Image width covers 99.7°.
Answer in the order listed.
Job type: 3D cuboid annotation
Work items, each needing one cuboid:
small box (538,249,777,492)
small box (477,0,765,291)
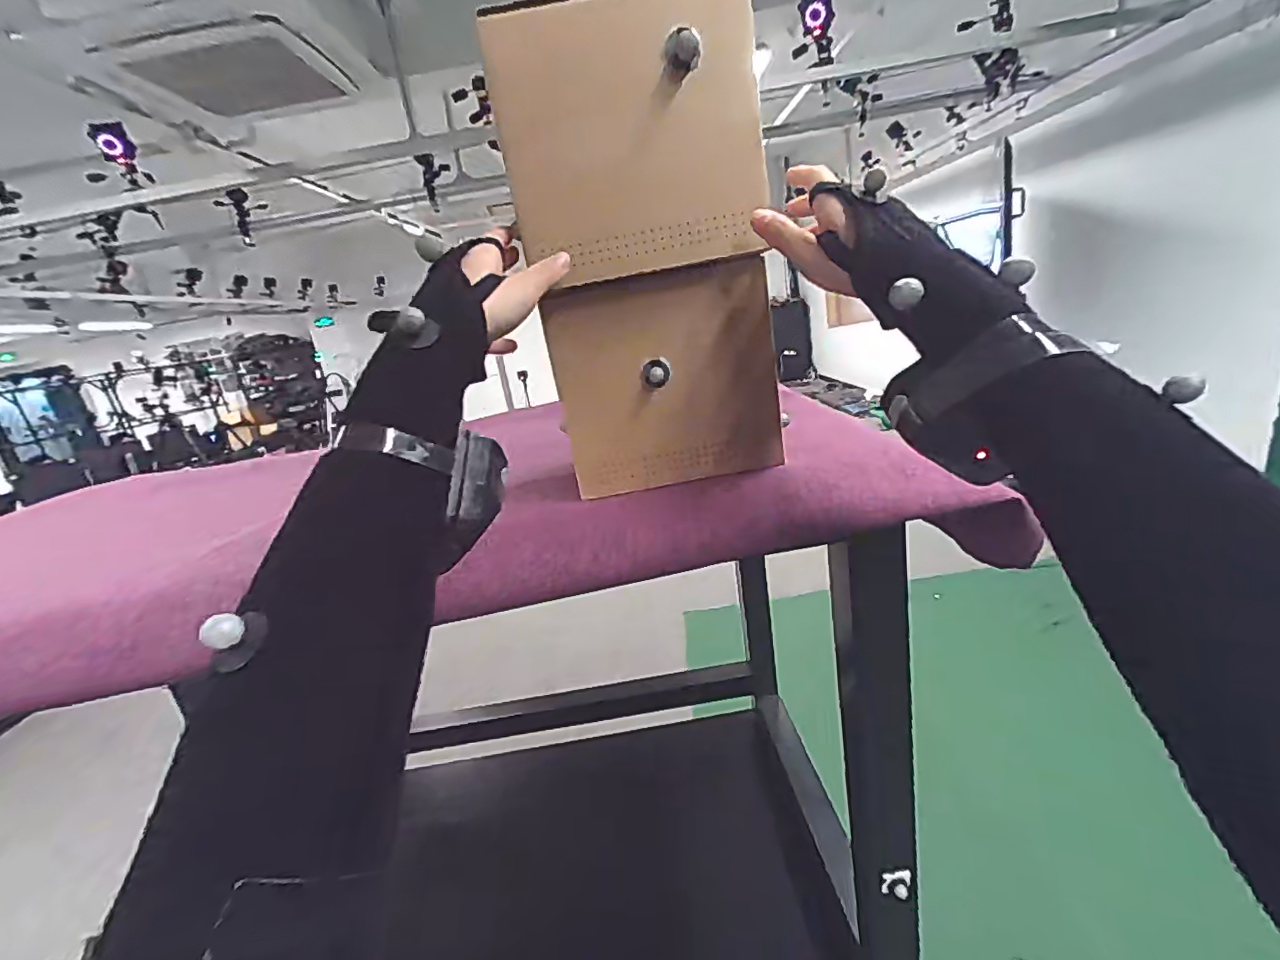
[{"bbox_3d":[0.021,-0.102,0.499,0.179,0.176,0.168,-11,17,2],"label":"small box"},{"bbox_3d":[-0.005,-0.251,0.431,0.179,0.176,0.168,-11,17,1],"label":"small box"}]
